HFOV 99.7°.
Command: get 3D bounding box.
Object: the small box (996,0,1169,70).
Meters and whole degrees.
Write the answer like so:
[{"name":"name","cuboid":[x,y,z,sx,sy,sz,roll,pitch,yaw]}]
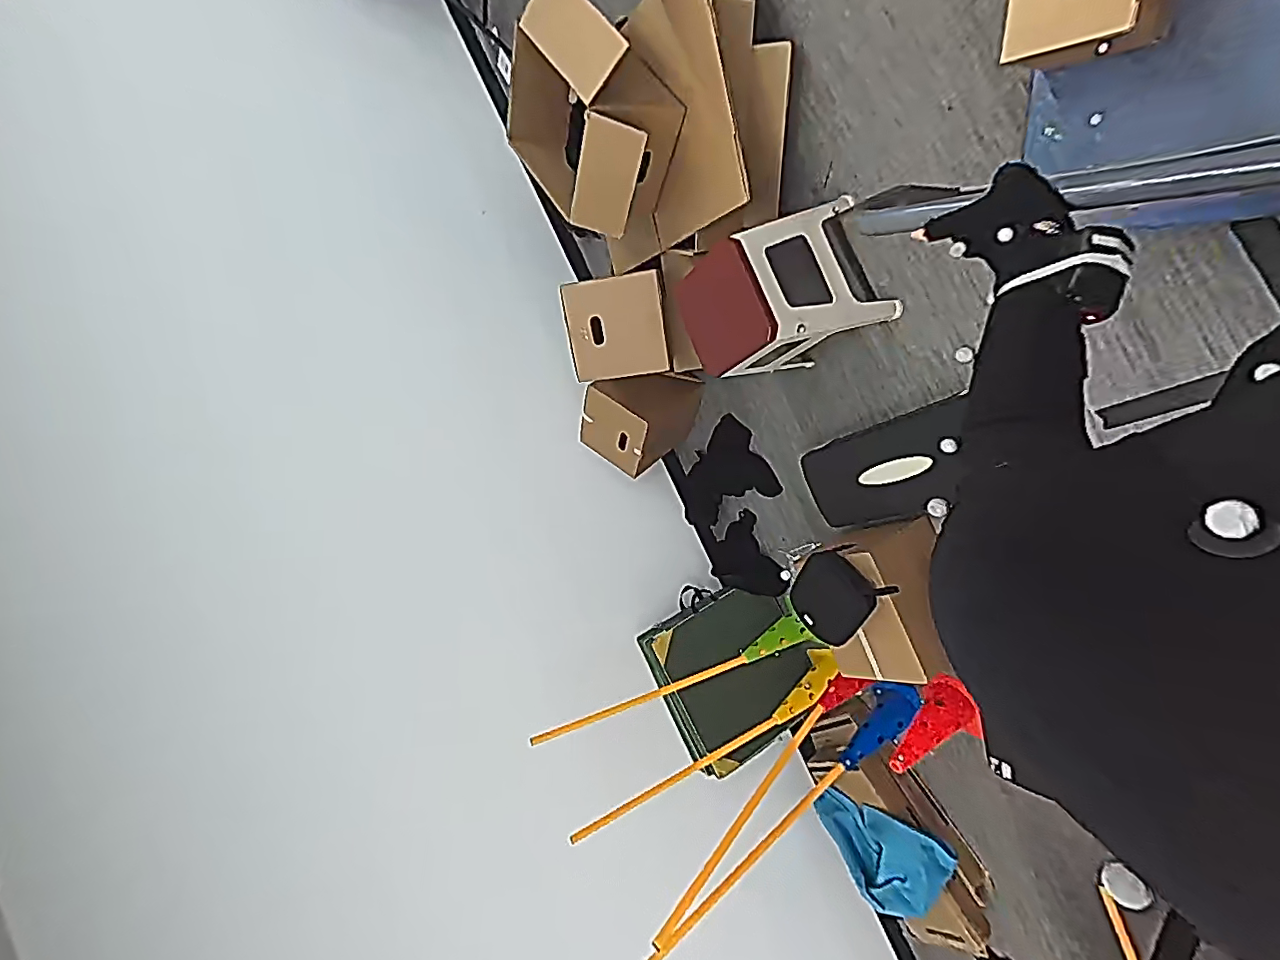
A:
[{"name":"small box","cuboid":[0.704,-0.770,0.849,0.179,0.176,0.168,24,128,47]}]
